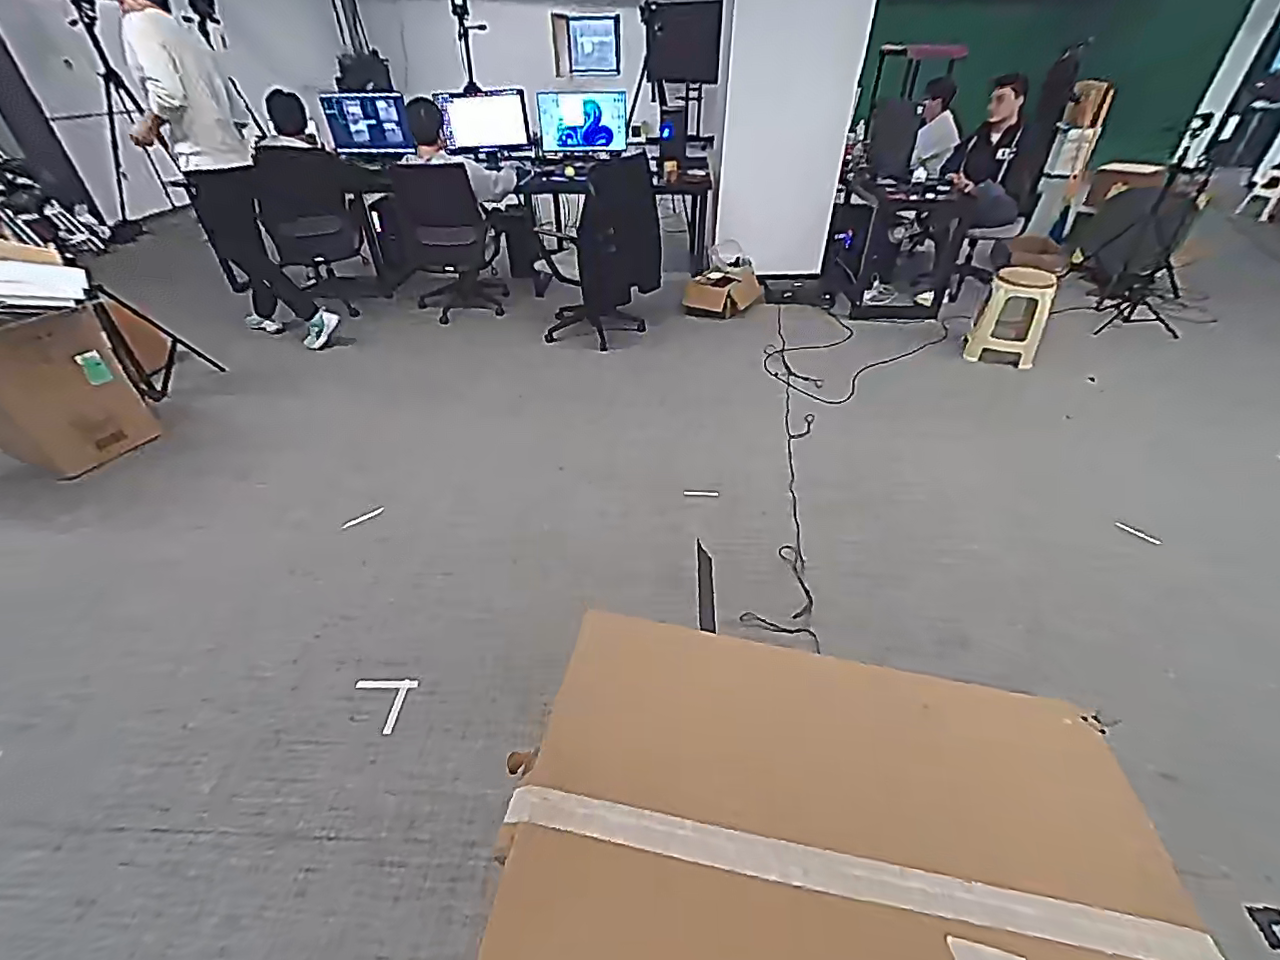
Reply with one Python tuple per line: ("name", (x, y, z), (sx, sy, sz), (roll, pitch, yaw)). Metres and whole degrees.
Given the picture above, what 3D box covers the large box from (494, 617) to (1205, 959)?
("large box", (0.113, 0.356, 0.419), (0.408, 0.320, 0.320), (11, 38, 4))
